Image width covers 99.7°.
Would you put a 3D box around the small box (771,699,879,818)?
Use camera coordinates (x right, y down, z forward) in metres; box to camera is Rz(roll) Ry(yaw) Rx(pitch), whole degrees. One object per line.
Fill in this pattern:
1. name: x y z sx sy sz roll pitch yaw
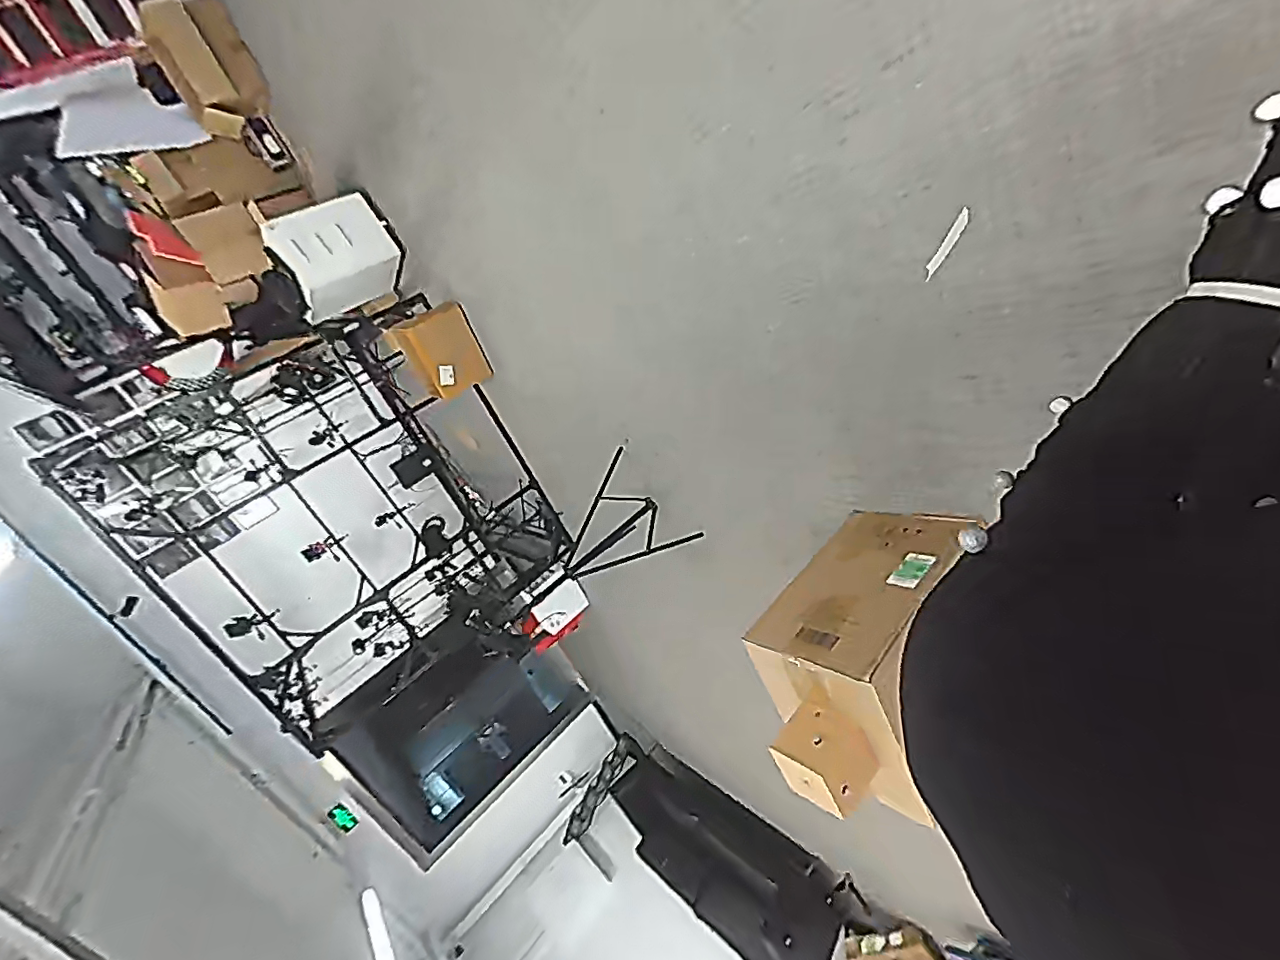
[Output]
1. small box: 0.468 0.690 1.361 0.168 0.176 0.179 1 126 55
